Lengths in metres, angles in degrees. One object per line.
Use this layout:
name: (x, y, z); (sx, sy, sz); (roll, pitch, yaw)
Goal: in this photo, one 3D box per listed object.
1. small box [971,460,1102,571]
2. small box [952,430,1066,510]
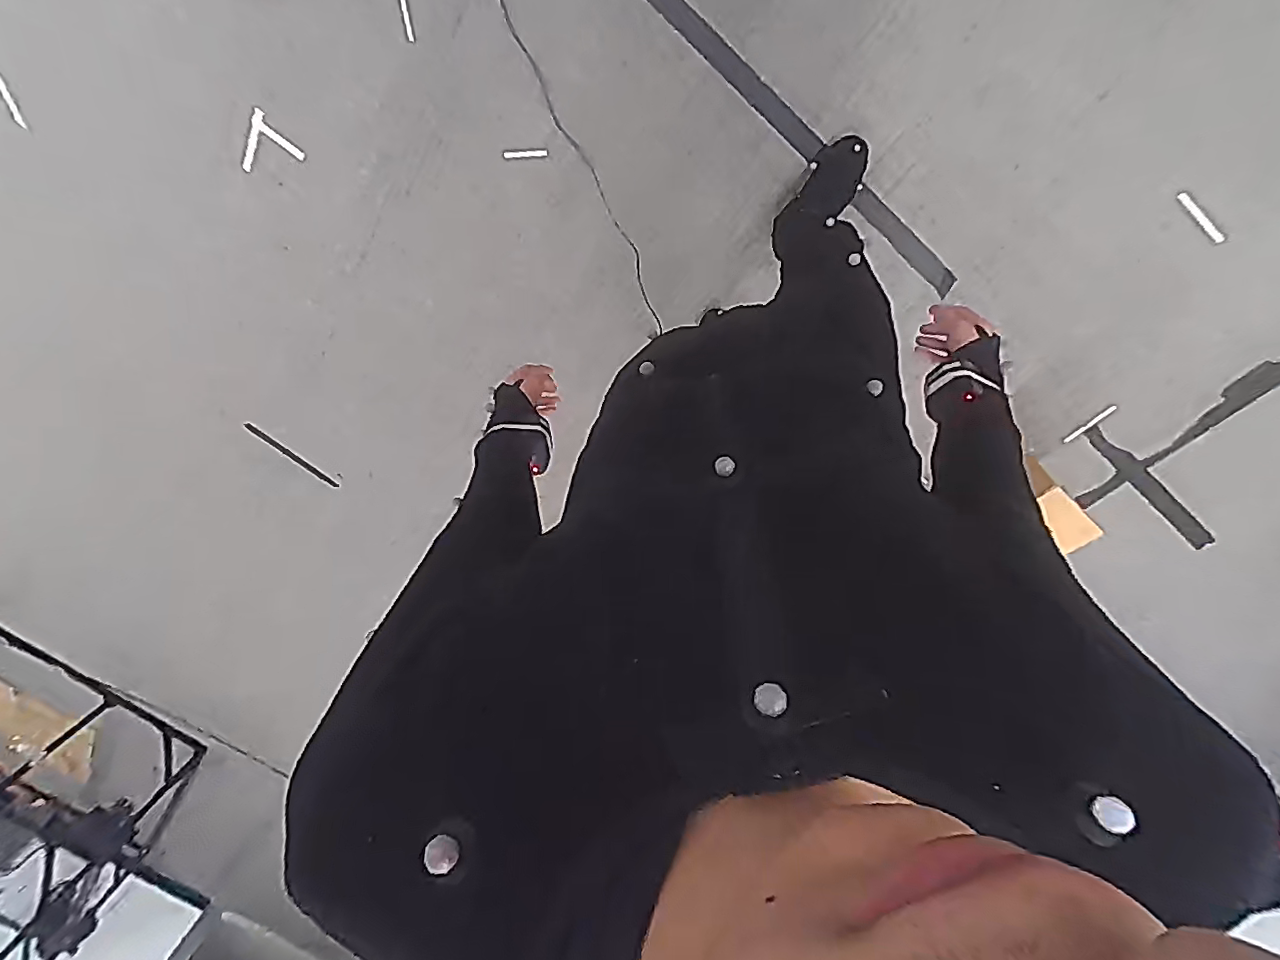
small box: (0.954, 0.081, 1.318); (0.179, 0.176, 0.168); (40, 120, -9)
small box: (0.977, -0.001, 1.457); (0.168, 0.176, 0.179); (36, 120, -8)
